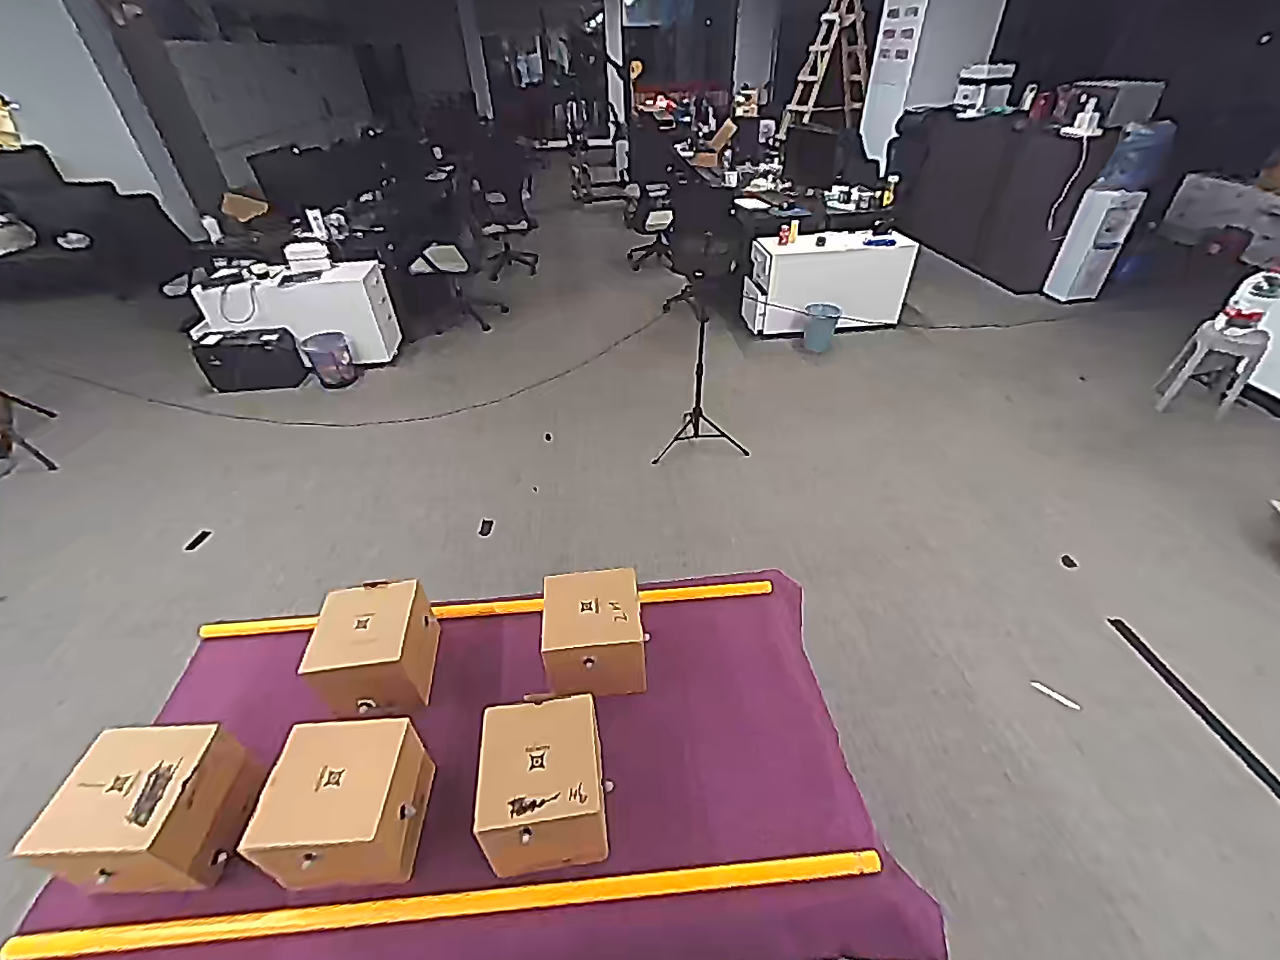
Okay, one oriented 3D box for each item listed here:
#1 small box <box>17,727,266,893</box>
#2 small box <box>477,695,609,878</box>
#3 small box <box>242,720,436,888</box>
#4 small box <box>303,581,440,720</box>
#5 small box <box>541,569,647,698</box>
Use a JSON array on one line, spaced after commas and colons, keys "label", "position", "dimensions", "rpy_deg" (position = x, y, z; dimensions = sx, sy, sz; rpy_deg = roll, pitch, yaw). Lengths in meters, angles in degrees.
[{"label": "small box", "position": [-0.705, 0.486, 0.797], "dimensions": [0.179, 0.176, 0.168], "rpy_deg": [-2, 38, 0]}, {"label": "small box", "position": [-0.137, 0.457, 0.813], "dimensions": [0.168, 0.176, 0.179], "rpy_deg": [-6, 36, -5]}, {"label": "small box", "position": [-0.422, 0.478, 0.800], "dimensions": [0.179, 0.176, 0.168], "rpy_deg": [-4, 38, -1]}, {"label": "small box", "position": [-0.483, 0.315, 1.007], "dimensions": [0.168, 0.176, 0.179], "rpy_deg": [-6, 40, -5]}, {"label": "small box", "position": [-0.082, 0.291, 1.019], "dimensions": [0.179, 0.176, 0.168], "rpy_deg": [-5, 40, -3]}]
